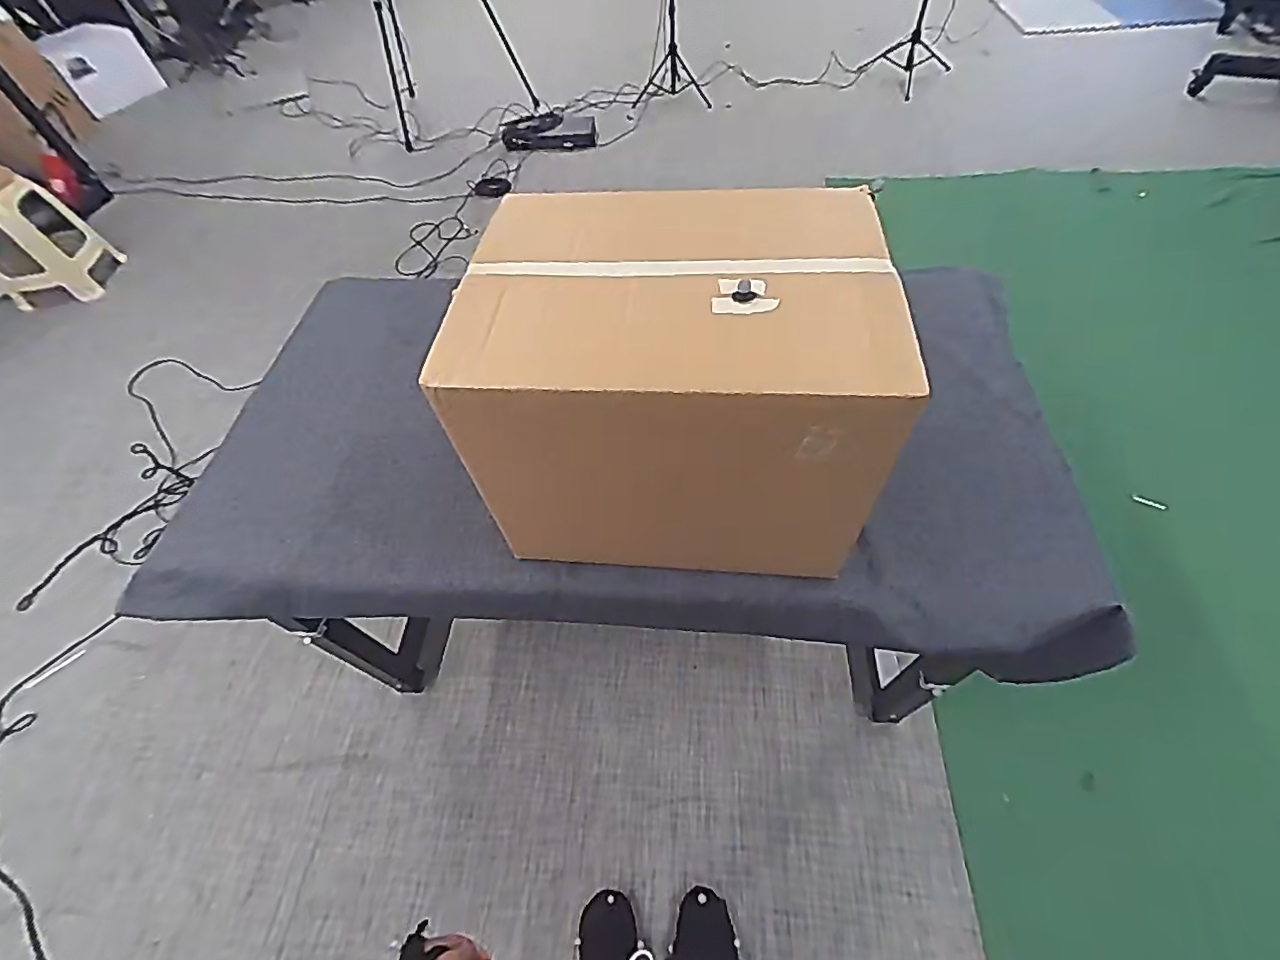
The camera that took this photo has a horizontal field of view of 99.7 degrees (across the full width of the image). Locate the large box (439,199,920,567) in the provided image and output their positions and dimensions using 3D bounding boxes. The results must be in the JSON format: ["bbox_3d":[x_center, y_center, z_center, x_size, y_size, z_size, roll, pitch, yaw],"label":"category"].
[{"bbox_3d":[0.043,-0.106,0.646,0.408,0.320,0.320,2,54,6],"label":"large box"}]
